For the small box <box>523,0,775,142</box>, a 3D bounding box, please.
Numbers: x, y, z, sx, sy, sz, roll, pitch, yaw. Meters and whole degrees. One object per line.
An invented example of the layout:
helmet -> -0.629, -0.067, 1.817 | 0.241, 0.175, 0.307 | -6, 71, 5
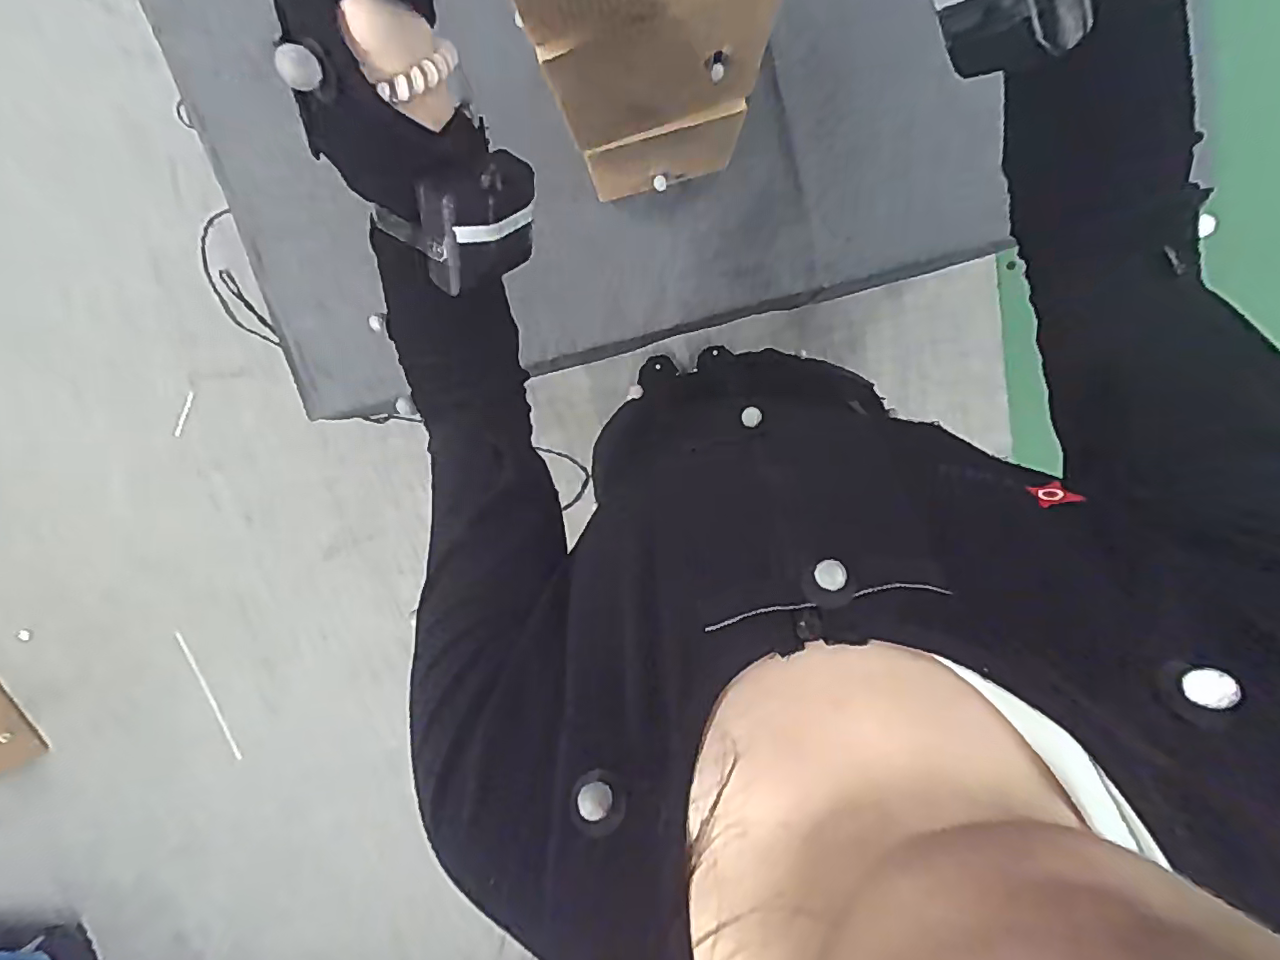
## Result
small box -> -0.005, -0.406, 0.424 | 0.179, 0.176, 0.168 | -15, 100, 6

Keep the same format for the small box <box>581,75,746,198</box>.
small box -> 0.007, -0.437, 0.584 | 0.168, 0.176, 0.179 | -12, 102, 5
